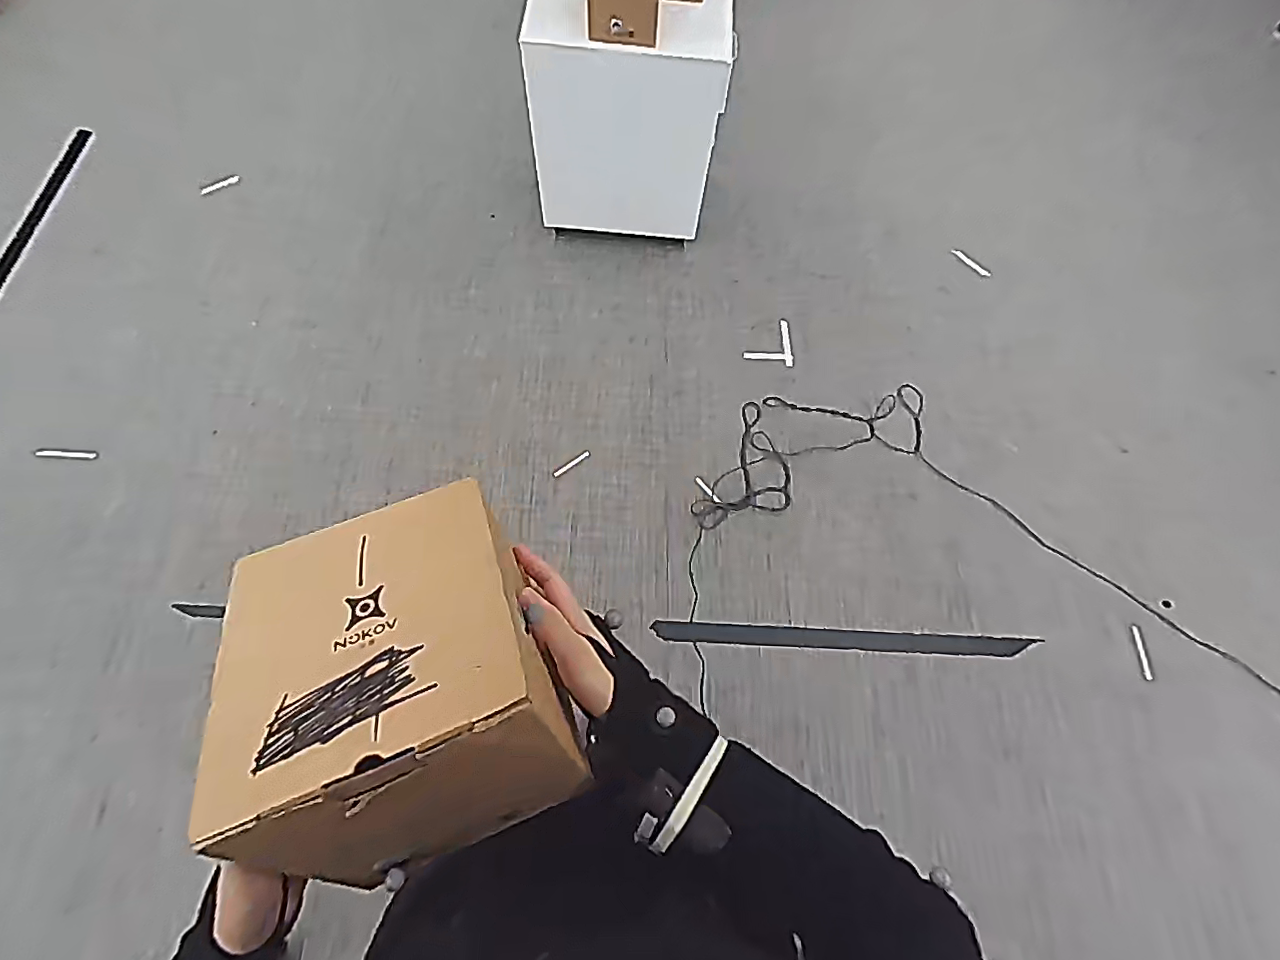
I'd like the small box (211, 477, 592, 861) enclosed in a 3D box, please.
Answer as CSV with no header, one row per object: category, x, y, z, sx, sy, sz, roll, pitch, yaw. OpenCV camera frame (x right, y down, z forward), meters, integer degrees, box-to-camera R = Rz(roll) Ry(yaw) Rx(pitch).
small box,-0.144,0.134,0.377,0.168,0.176,0.179,-20,47,-9

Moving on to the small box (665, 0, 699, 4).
small box,0.082,-1.331,1.341,0.168,0.176,0.179,4,69,-1
